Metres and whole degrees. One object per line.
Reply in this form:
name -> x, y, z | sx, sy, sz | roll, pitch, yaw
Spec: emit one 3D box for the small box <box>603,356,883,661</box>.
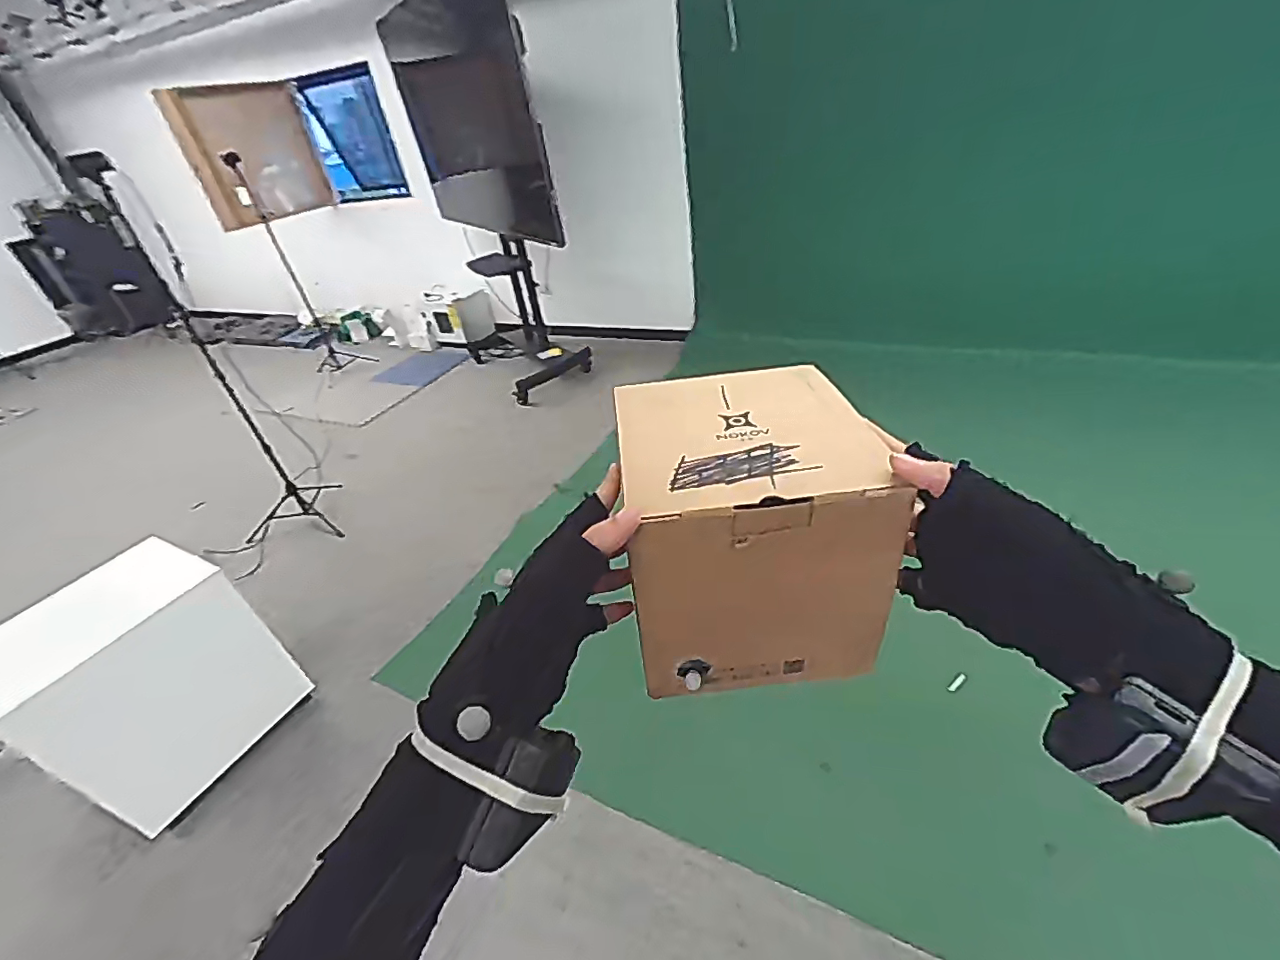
small box -> 0.065, 0.022, 0.421 | 0.168, 0.176, 0.179 | -7, 33, 0
